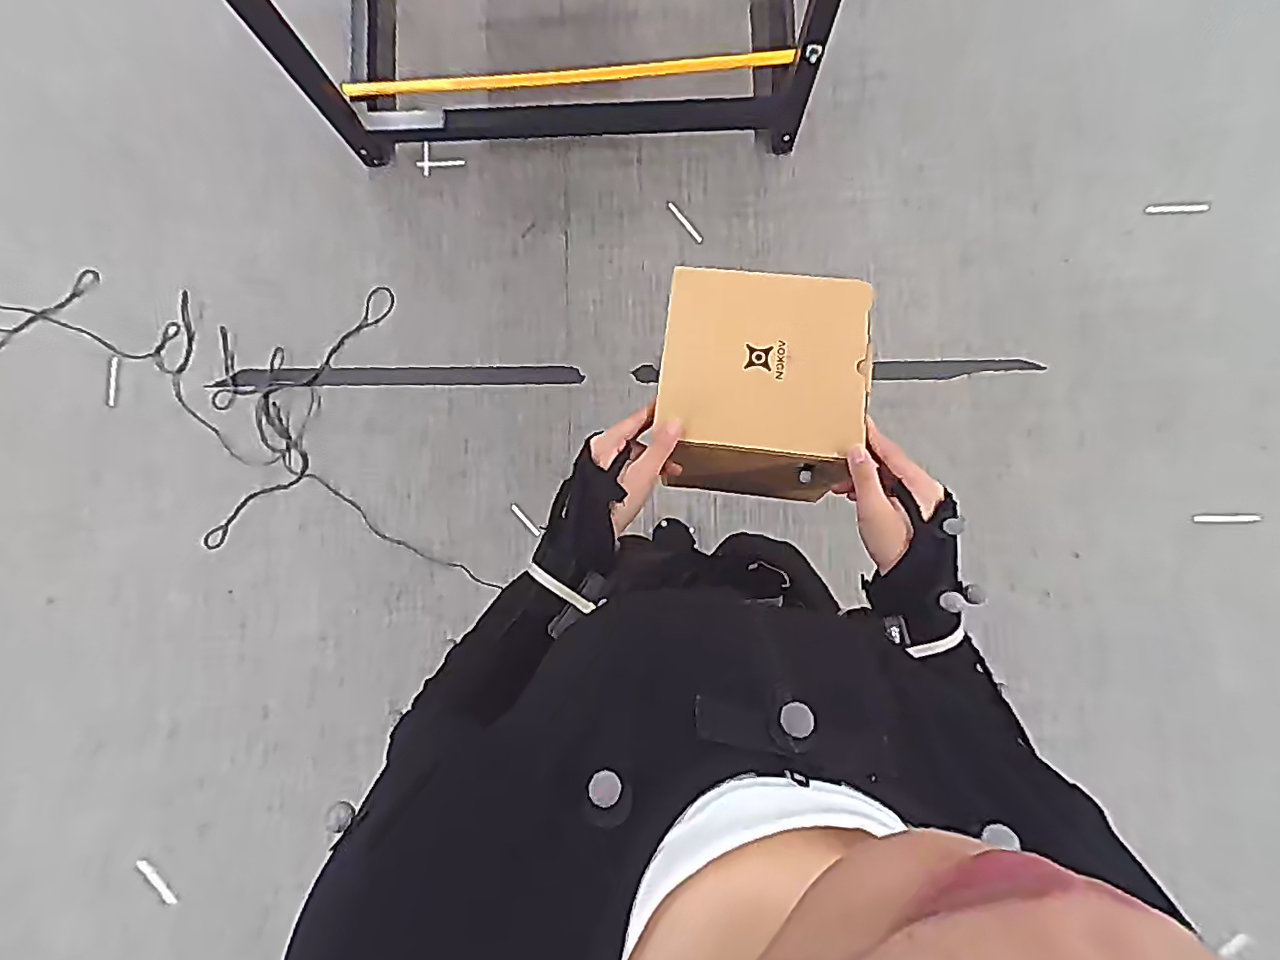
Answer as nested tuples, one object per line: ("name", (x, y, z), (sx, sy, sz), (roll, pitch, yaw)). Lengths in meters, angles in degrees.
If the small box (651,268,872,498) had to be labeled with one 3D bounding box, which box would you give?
("small box", (0.112, -0.084, 0.538), (0.179, 0.176, 0.168), (7, 77, 6))
